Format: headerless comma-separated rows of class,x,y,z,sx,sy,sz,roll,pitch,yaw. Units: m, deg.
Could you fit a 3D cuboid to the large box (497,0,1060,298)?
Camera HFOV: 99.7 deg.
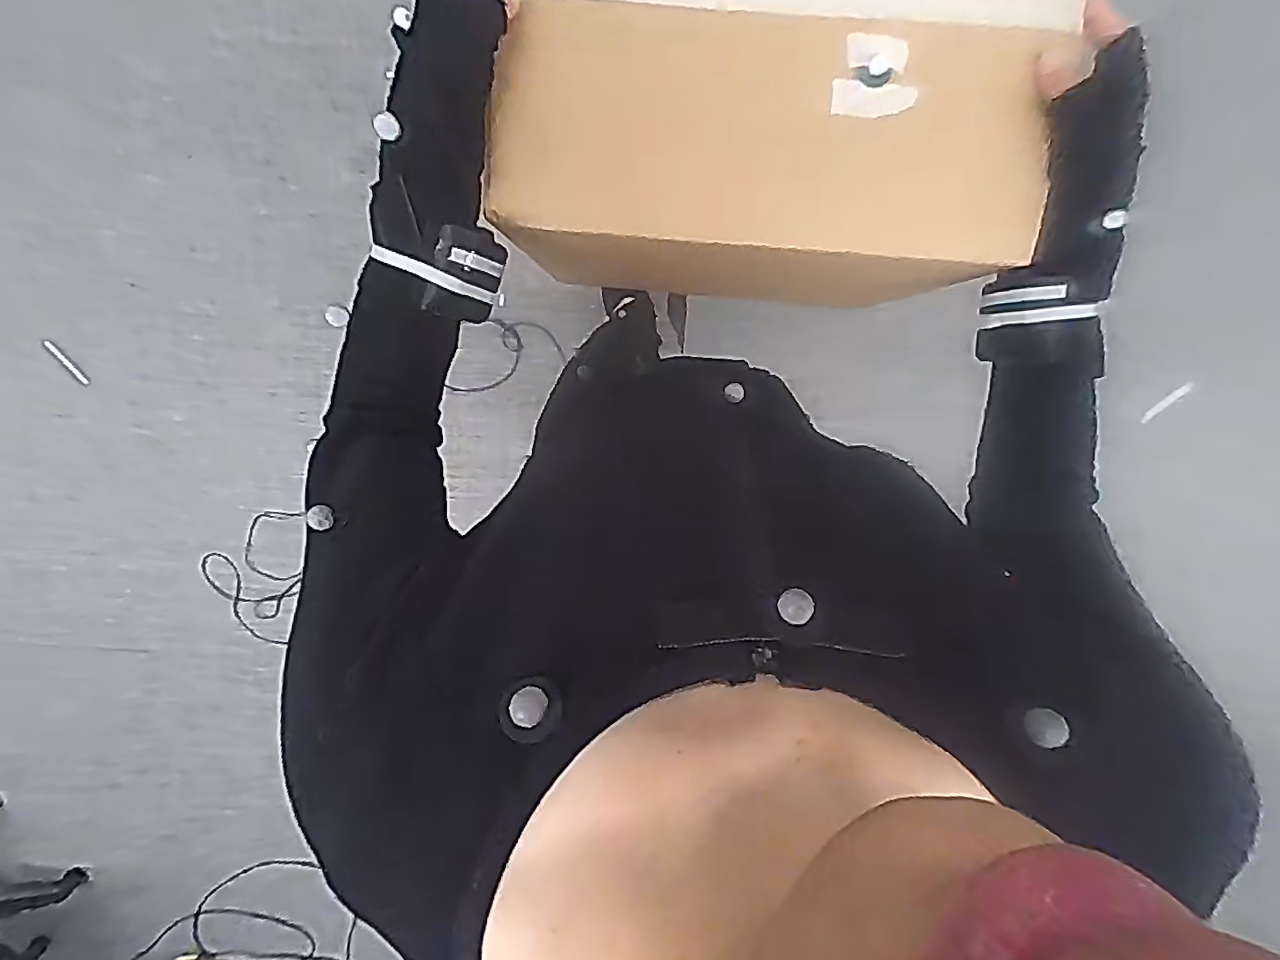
large box,0.097,-0.367,0.528,0.408,0.320,0.320,4,102,0
